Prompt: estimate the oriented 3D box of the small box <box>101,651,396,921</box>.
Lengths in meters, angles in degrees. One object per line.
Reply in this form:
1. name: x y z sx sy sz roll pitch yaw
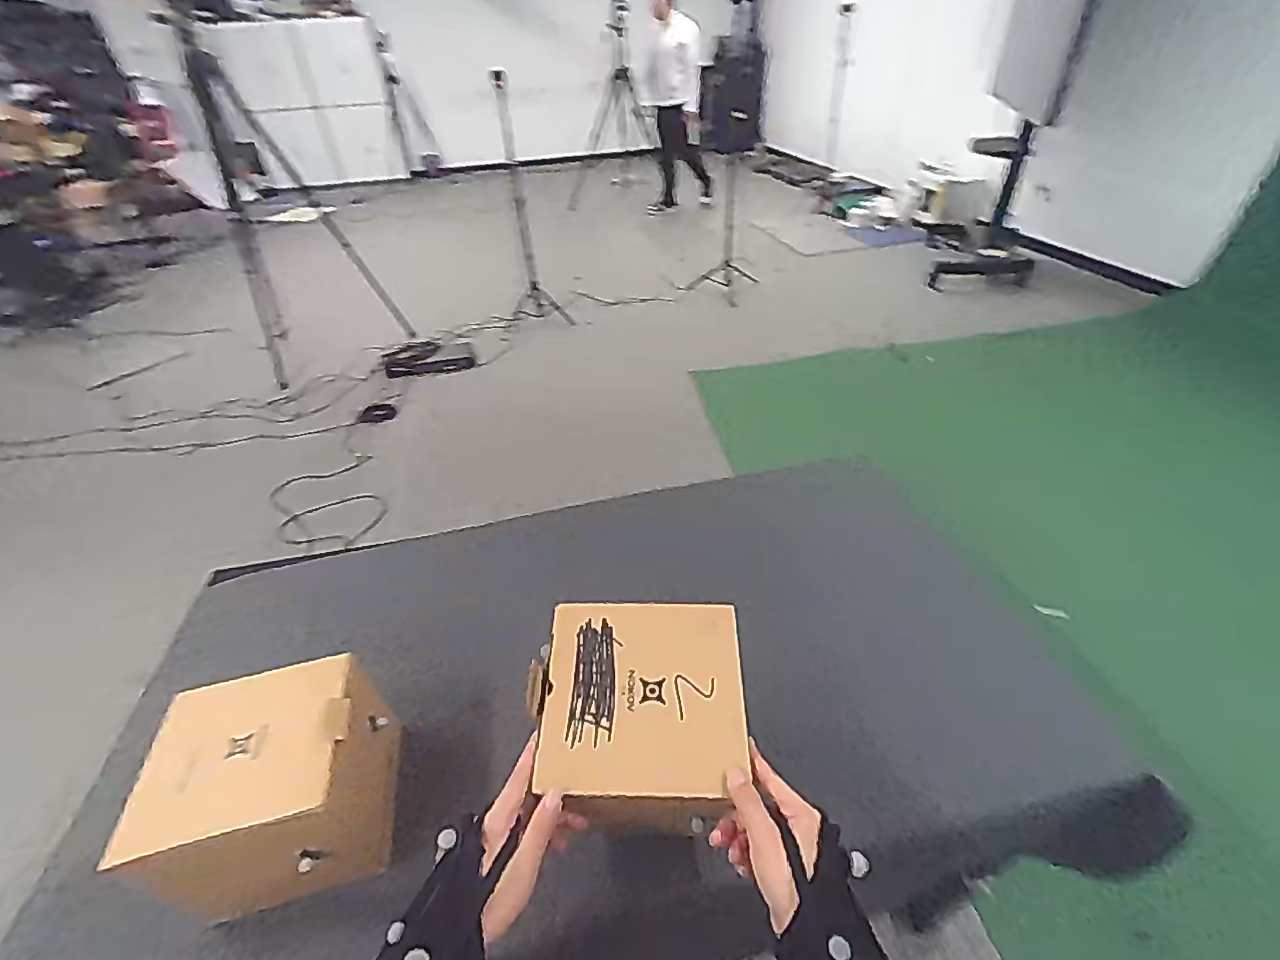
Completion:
1. small box: -0.371 0.314 0.562 0.179 0.176 0.168 -13 39 -11
